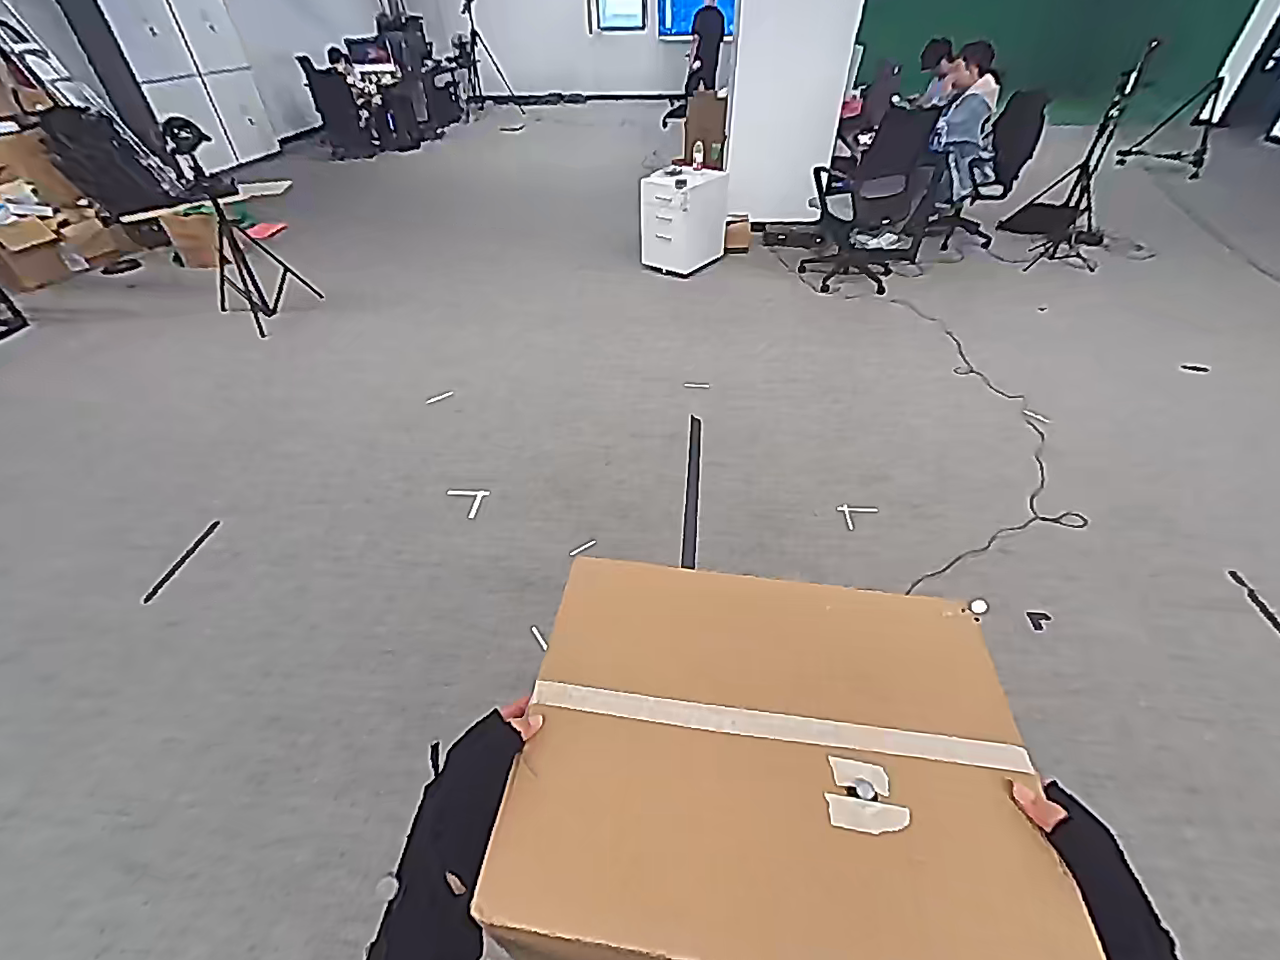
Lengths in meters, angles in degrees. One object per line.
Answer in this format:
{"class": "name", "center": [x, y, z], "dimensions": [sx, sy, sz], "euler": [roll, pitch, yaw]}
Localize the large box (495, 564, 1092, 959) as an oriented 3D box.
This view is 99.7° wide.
{"class": "large box", "center": [0.110, 0.320, 0.560], "dimensions": [0.408, 0.320, 0.320], "euler": [6, 43, 6]}
